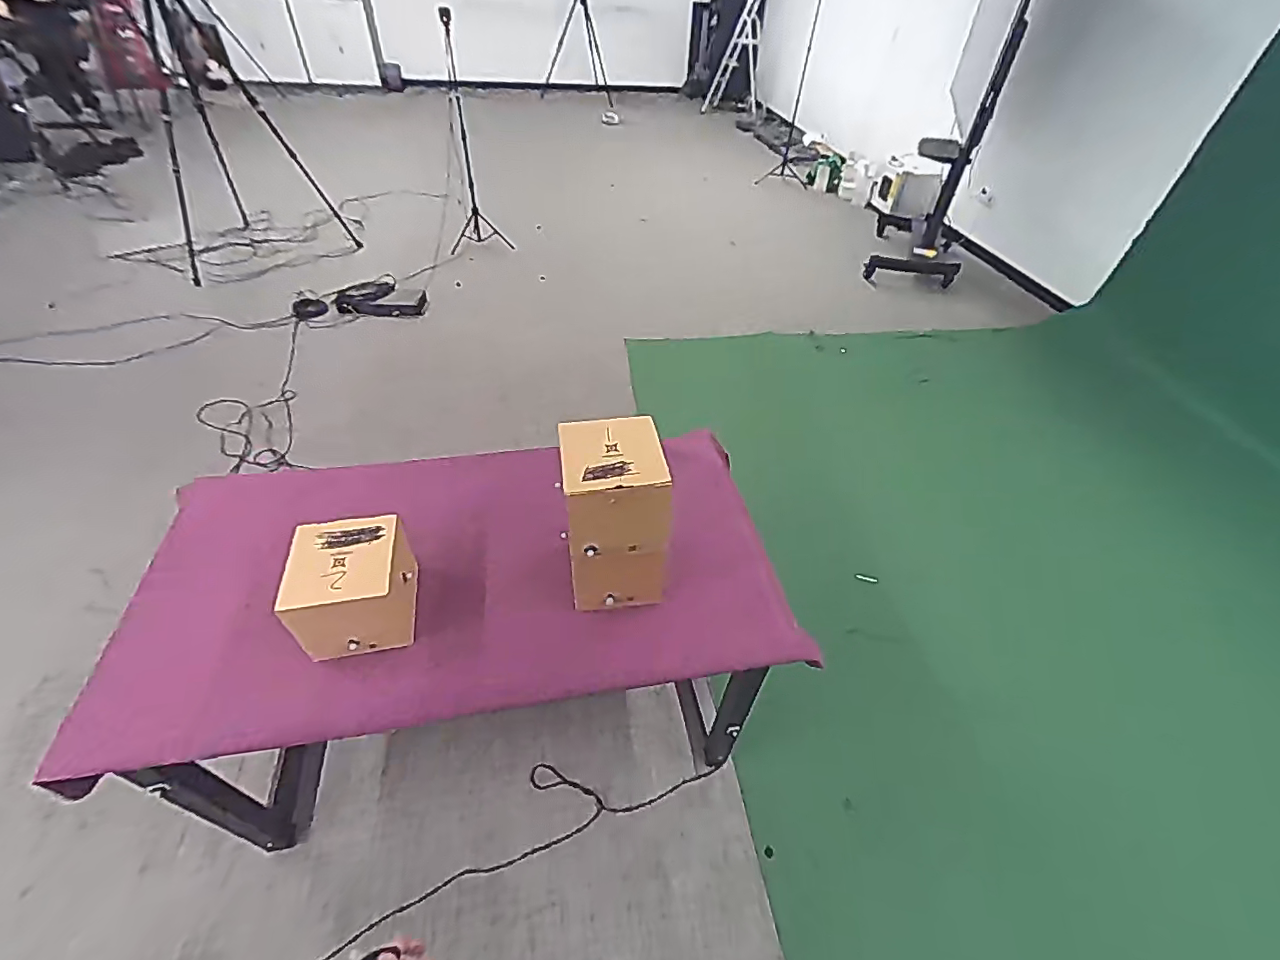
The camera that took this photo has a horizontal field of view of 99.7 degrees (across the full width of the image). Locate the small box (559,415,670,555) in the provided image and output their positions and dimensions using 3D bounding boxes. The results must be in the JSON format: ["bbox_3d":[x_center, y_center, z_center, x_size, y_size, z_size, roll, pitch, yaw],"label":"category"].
[{"bbox_3d":[-0.045,0.014,0.924,0.168,0.176,0.179,-6,43,-7],"label":"small box"}]

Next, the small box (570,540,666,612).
[{"bbox_3d":[-0.050,0.129,1.040,0.168,0.176,0.179,-6,45,-7],"label":"small box"}]
